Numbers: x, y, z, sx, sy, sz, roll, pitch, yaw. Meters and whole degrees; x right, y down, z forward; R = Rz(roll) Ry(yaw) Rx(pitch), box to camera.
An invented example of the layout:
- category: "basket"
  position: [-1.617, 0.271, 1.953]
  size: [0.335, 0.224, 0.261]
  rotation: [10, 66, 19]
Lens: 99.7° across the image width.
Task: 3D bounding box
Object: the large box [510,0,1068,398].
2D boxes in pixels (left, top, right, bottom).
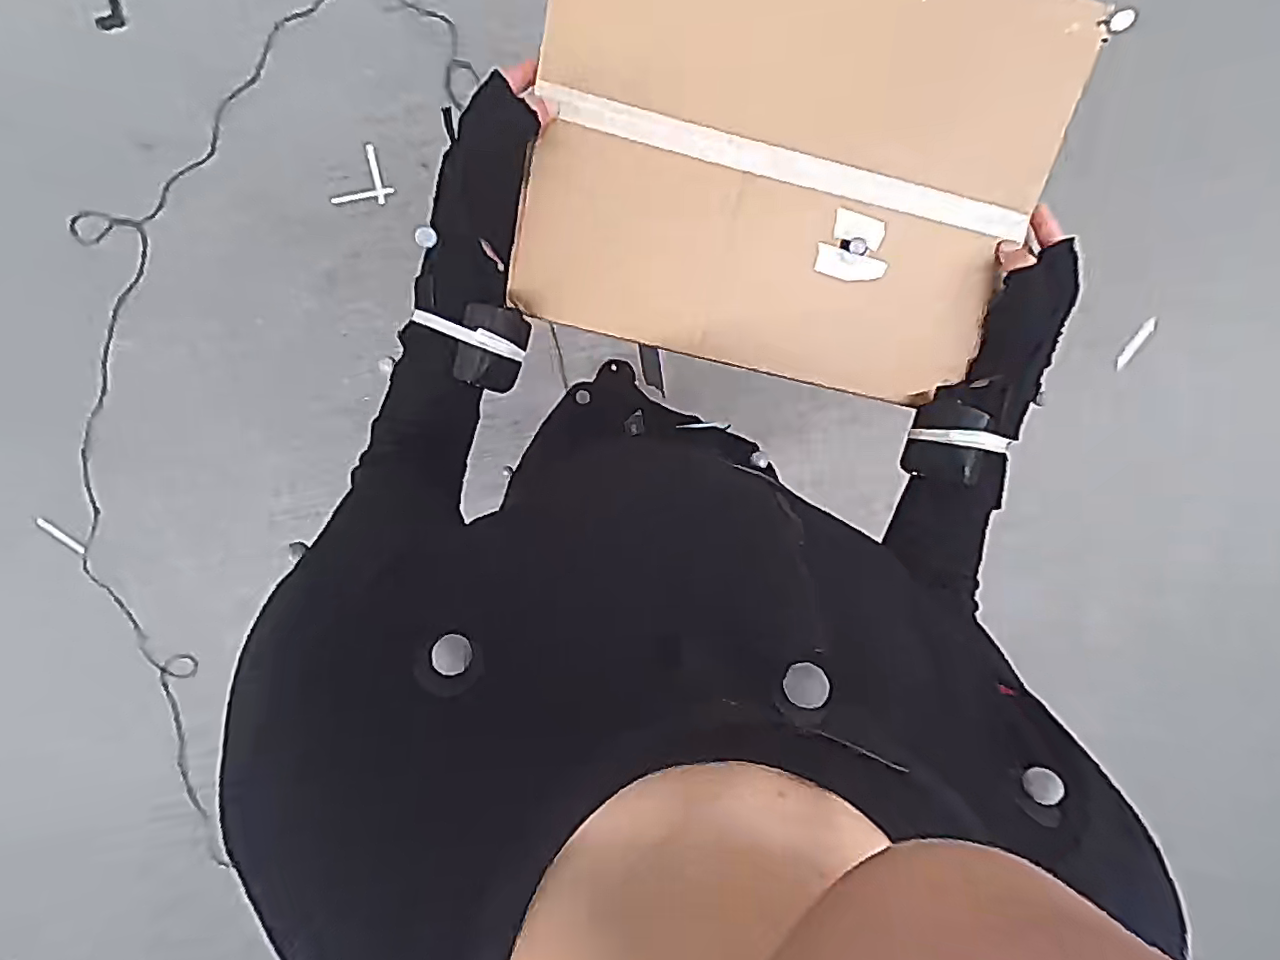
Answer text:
- category: "large box"
  position: [0.100, -0.295, 0.579]
  size: [0.408, 0.320, 0.320]
  rotation: [10, 108, -6]
